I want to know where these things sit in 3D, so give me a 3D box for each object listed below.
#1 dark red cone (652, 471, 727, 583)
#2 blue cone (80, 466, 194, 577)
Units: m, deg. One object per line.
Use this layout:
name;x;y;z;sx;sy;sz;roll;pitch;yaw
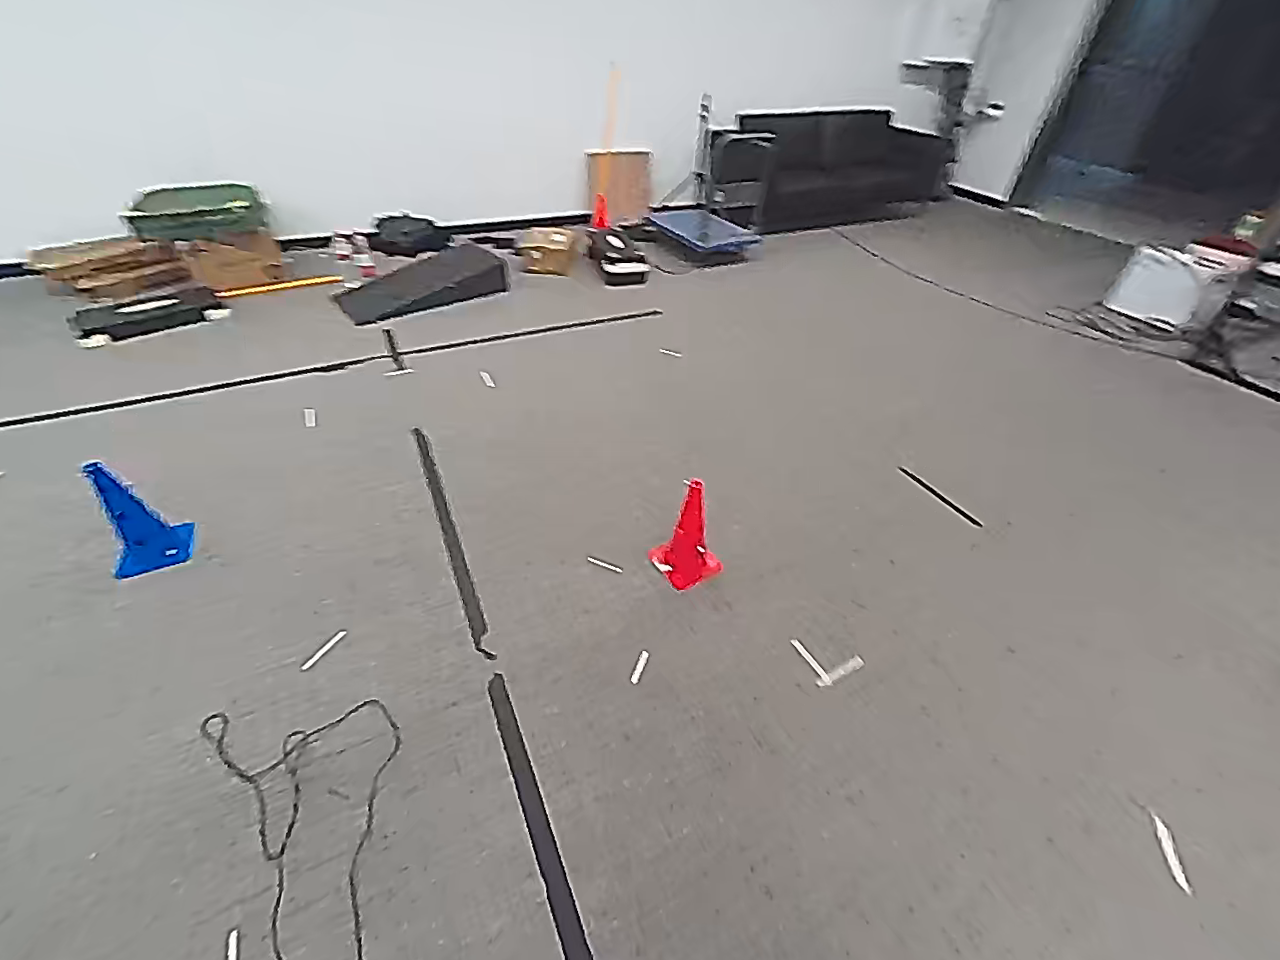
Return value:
dark red cone;0.171;0.129;1.729;0.201;0.394;0.202;-22;46;-26
blue cone;-1.589;0.106;1.682;0.192;0.380;0.193;-16;44;-20
